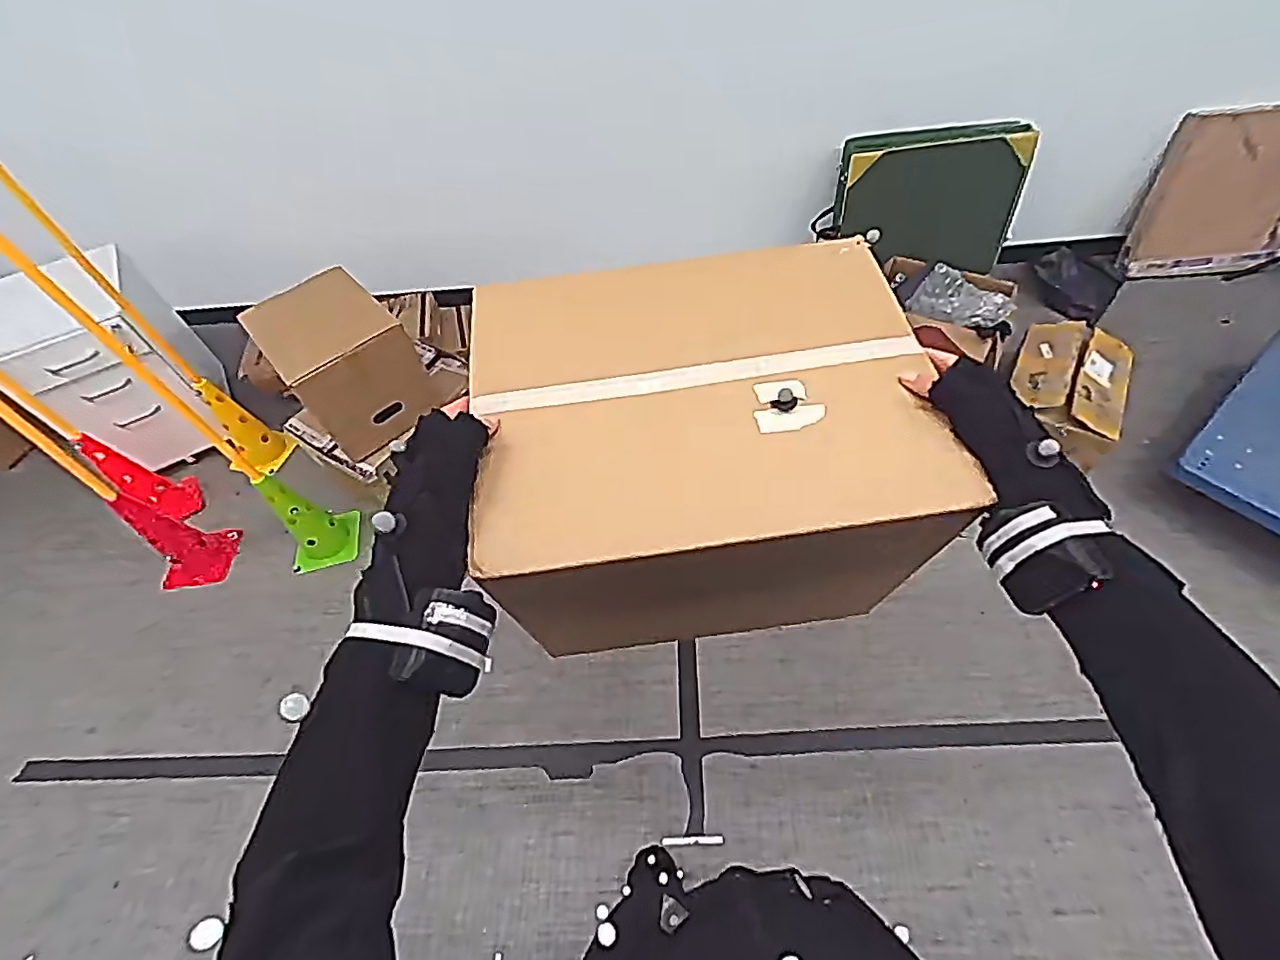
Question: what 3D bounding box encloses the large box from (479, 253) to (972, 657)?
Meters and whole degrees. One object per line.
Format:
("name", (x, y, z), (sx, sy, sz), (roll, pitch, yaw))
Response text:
("large box", (0.055, -0.010, 0.625), (0.408, 0.320, 0.320), (-8, 61, -1))
